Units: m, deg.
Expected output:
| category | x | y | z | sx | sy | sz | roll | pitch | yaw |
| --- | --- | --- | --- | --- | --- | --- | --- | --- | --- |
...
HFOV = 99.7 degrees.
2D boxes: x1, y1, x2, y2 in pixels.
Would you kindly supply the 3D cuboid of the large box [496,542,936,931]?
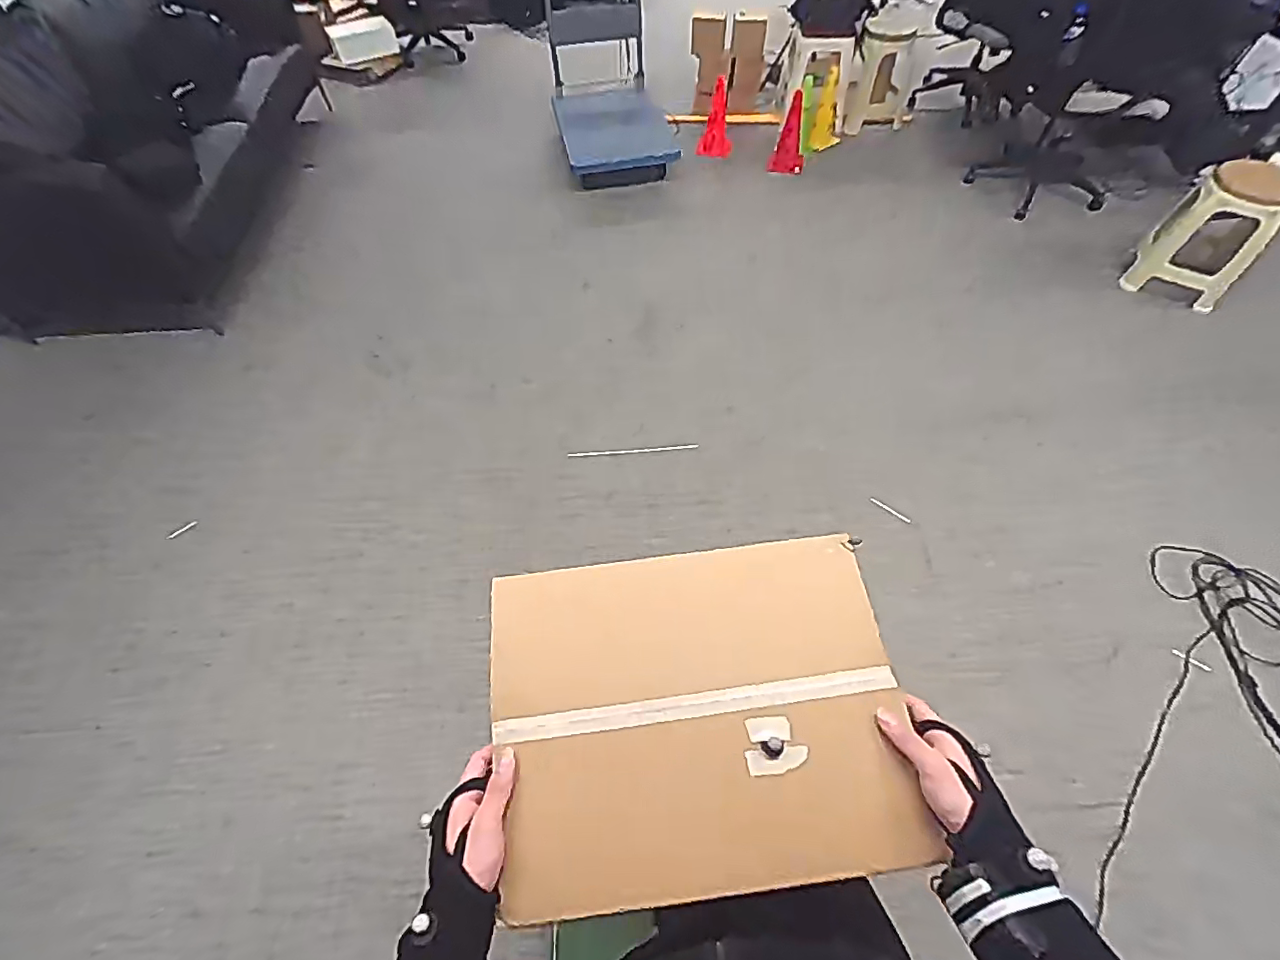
| category | x | y | z | sx | sy | sz | roll | pitch | yaw |
| --- | --- | --- | --- | --- | --- | --- | --- | --- | --- |
| large box | 0.057 | 0.302 | 0.681 | 0.408 | 0.320 | 0.320 | -7 | 64 | -2 |
